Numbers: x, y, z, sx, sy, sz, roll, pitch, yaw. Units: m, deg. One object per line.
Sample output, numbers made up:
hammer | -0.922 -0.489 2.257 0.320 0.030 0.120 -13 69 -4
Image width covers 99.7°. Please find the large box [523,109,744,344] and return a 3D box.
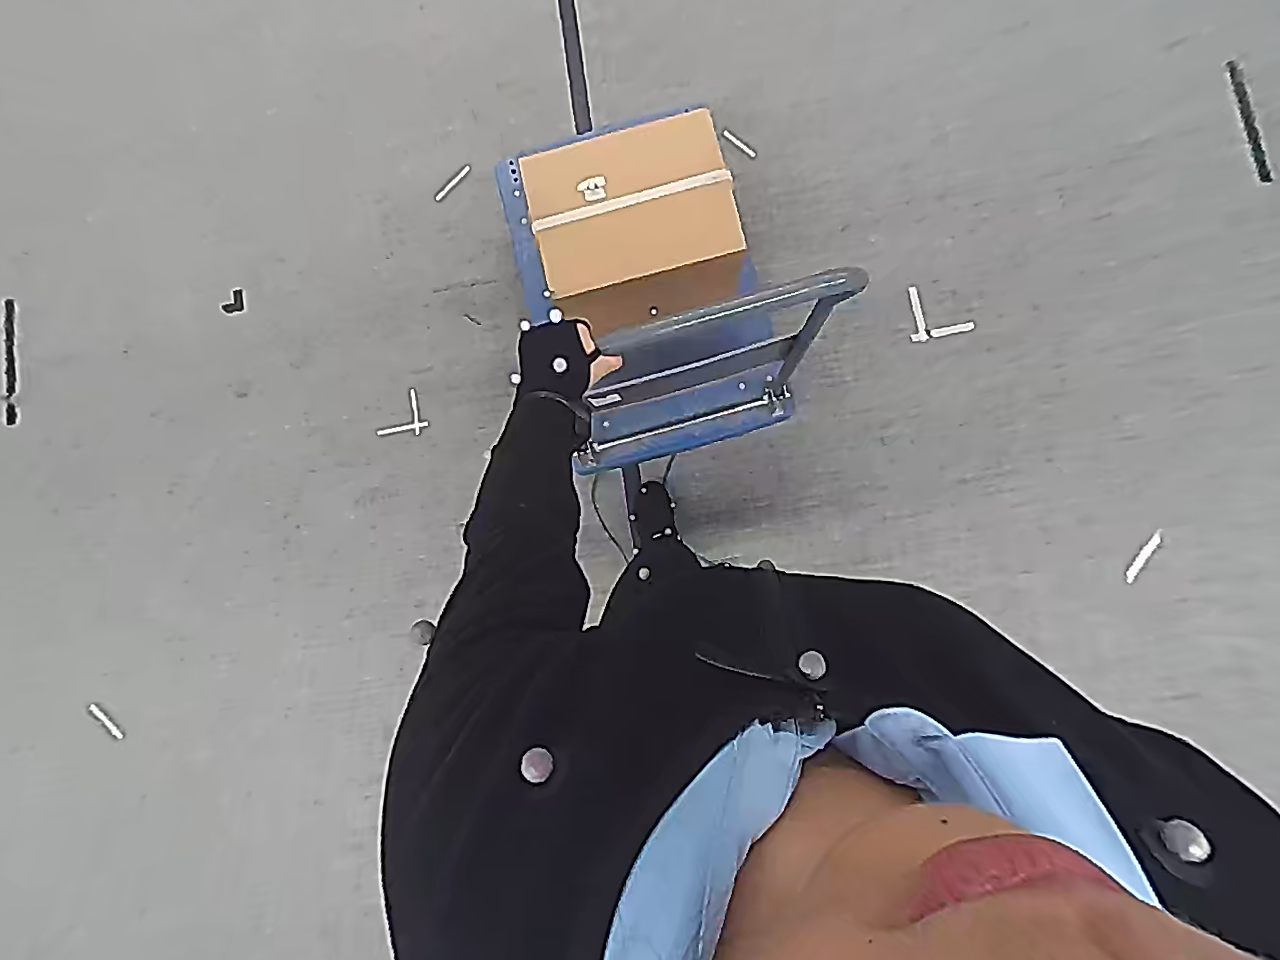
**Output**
large box | -0.006 -0.552 1.249 0.408 0.320 0.320 -14 84 3
